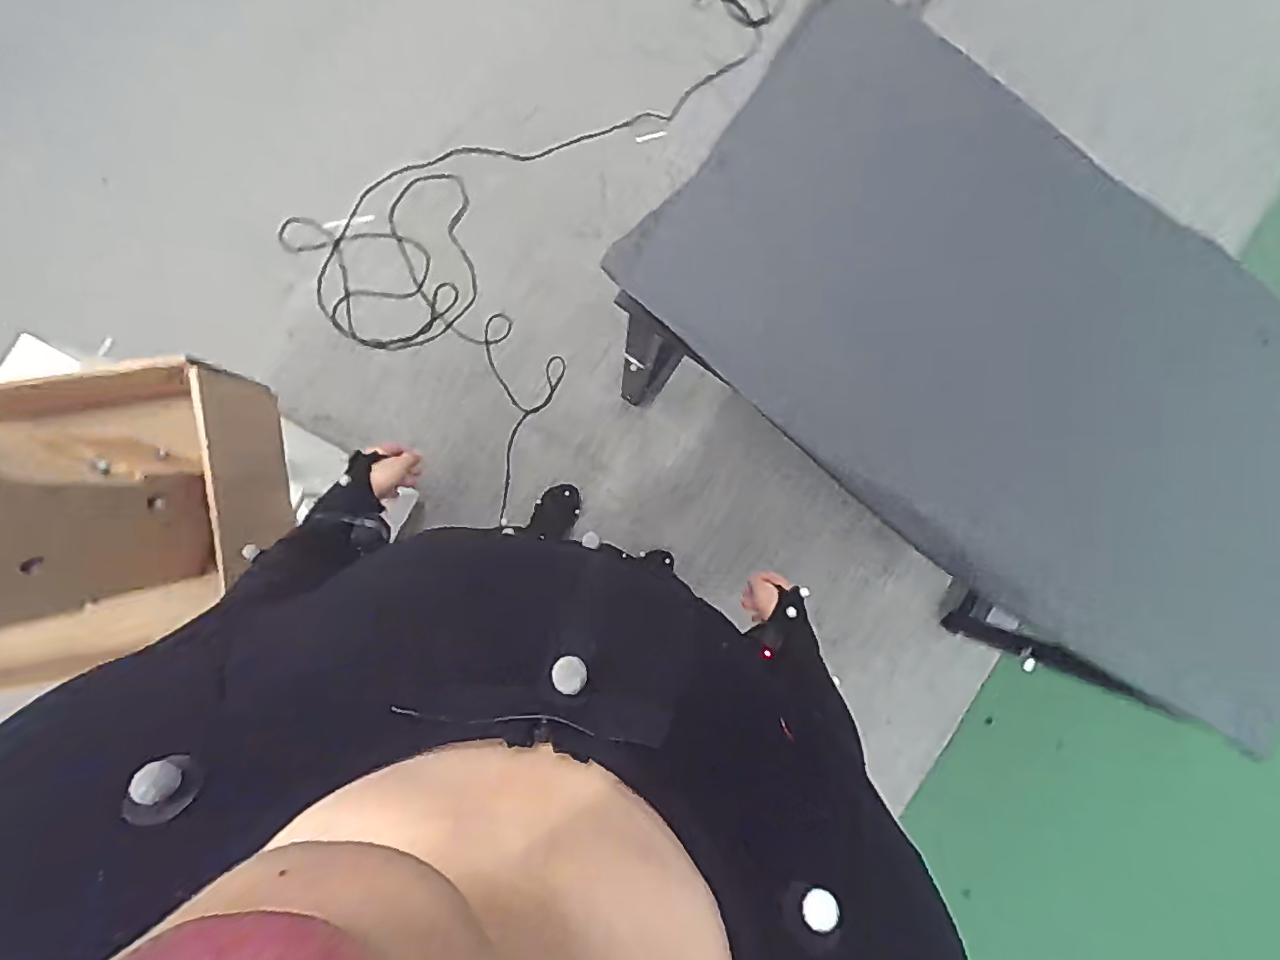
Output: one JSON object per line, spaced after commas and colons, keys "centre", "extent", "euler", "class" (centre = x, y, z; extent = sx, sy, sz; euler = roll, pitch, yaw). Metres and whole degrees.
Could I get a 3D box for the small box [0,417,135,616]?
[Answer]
{"centre": [-0.713, 0.034, 0.581], "extent": [0.168, 0.176, 0.179], "euler": [26, 90, -1], "class": "small box"}
